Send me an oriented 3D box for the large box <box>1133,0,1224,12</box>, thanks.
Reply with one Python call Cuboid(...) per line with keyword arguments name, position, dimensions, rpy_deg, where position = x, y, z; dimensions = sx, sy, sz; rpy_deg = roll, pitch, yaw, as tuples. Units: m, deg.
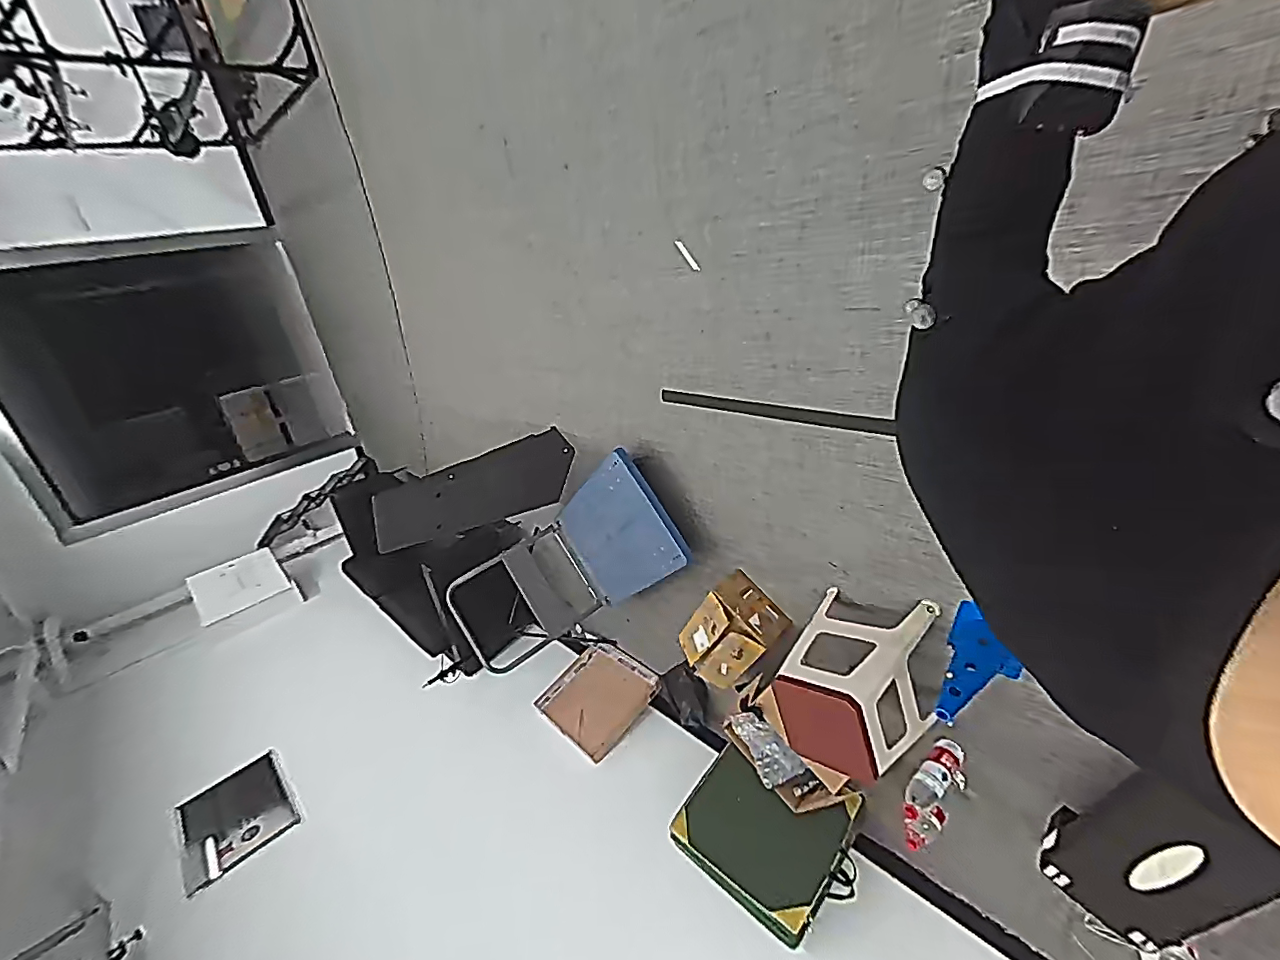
Cuboid(name="large box", position=(0.504, -0.480, 0.229), dimensions=(0.408, 0.320, 0.320), rpy_deg=(10, 128, 45))
